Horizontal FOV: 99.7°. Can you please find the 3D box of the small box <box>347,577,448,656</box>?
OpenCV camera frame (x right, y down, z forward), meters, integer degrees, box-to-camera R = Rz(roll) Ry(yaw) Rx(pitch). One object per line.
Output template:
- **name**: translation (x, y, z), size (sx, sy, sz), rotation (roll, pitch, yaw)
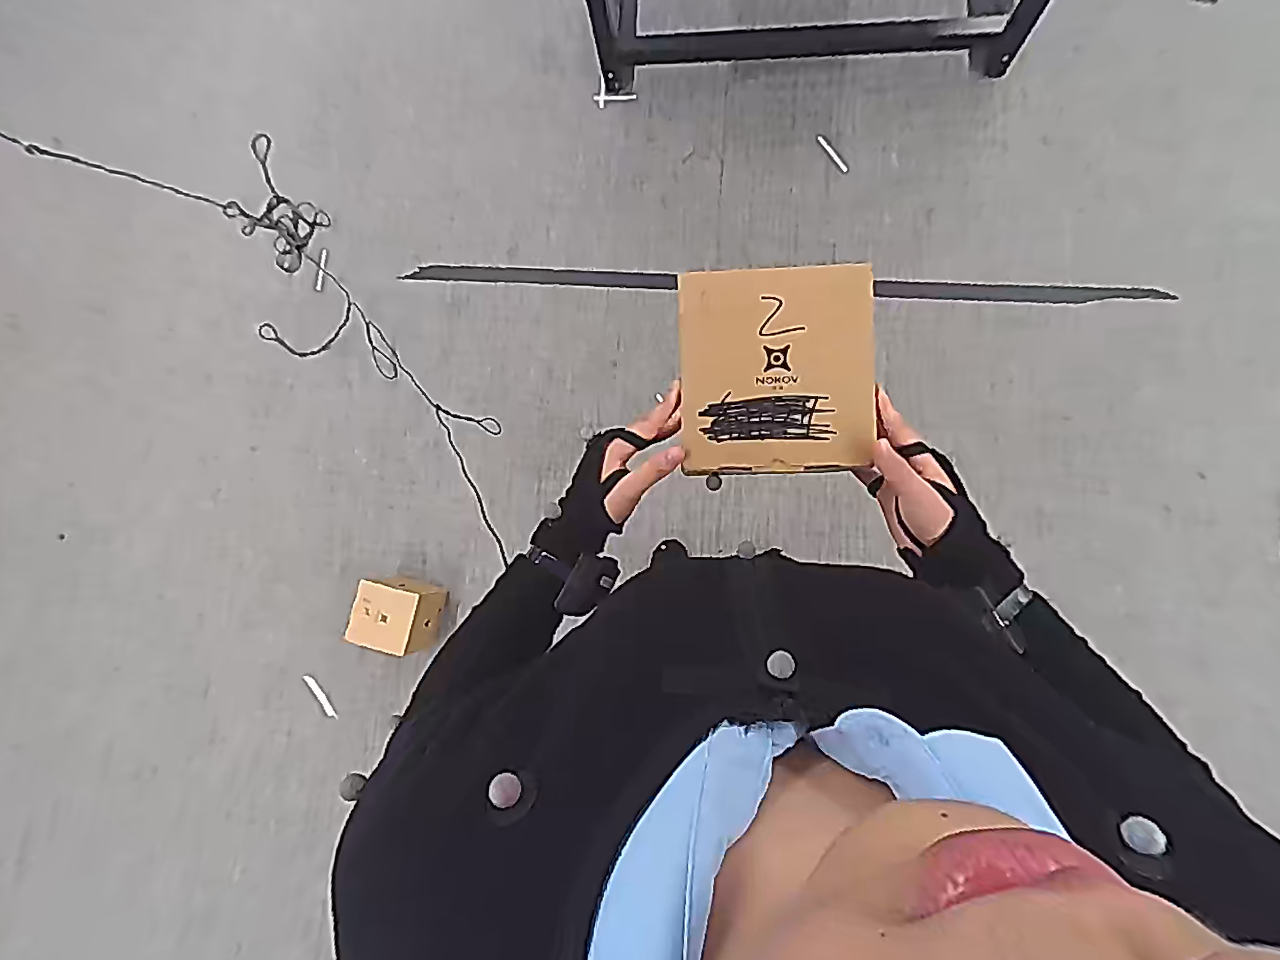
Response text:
- **small box**: translation (-0.661, 0.369, 1.499), size (0.179, 0.176, 0.168), rotation (13, 84, 8)
